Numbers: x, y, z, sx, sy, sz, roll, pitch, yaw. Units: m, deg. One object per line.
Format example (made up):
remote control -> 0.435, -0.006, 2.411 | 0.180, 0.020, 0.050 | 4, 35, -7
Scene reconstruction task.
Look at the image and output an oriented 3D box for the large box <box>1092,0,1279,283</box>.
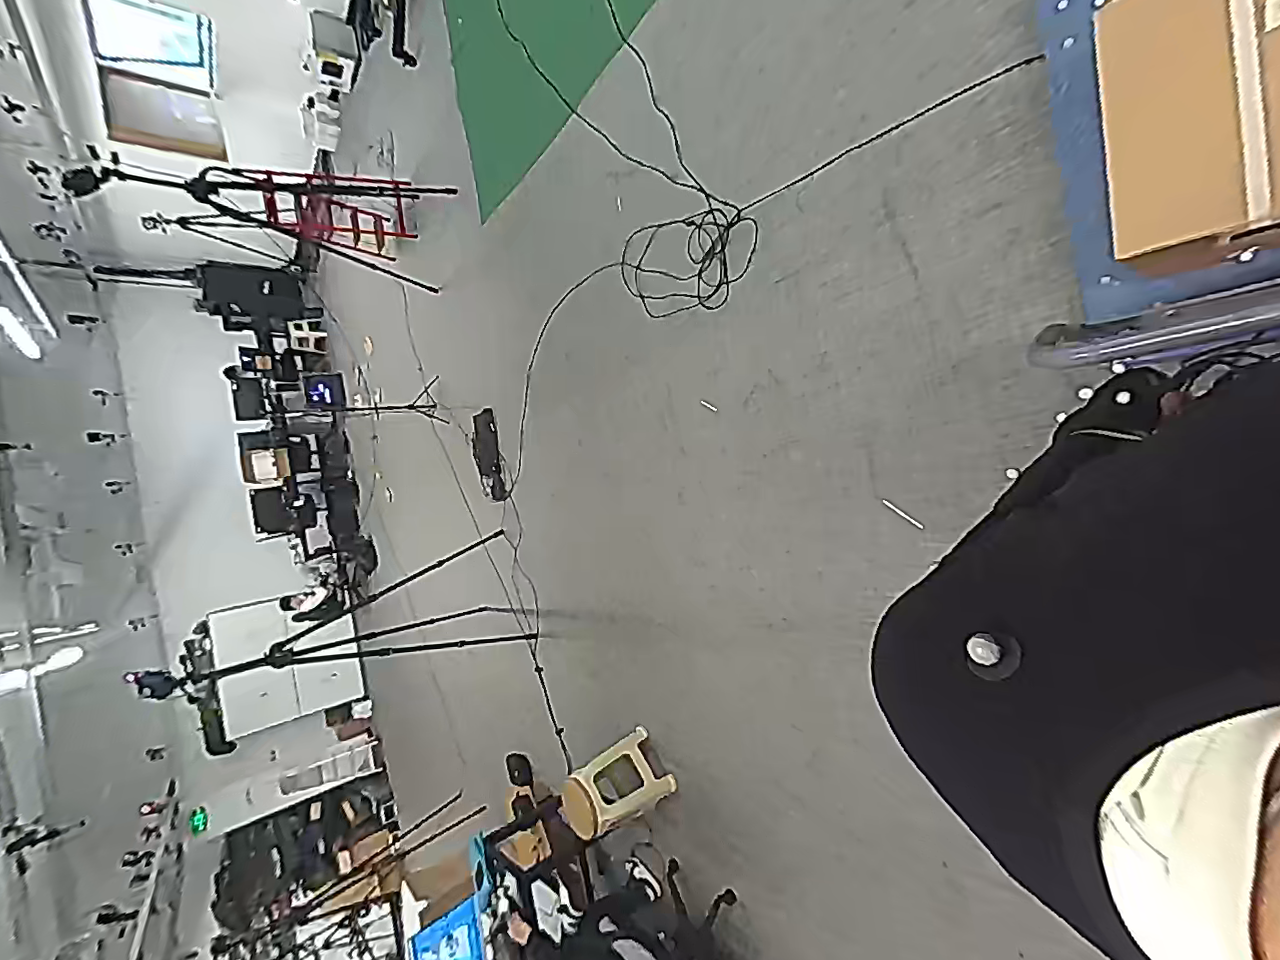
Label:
large box -> 0.964, -0.573, 0.849 | 0.320, 0.320, 0.408 | -5, 93, 50
